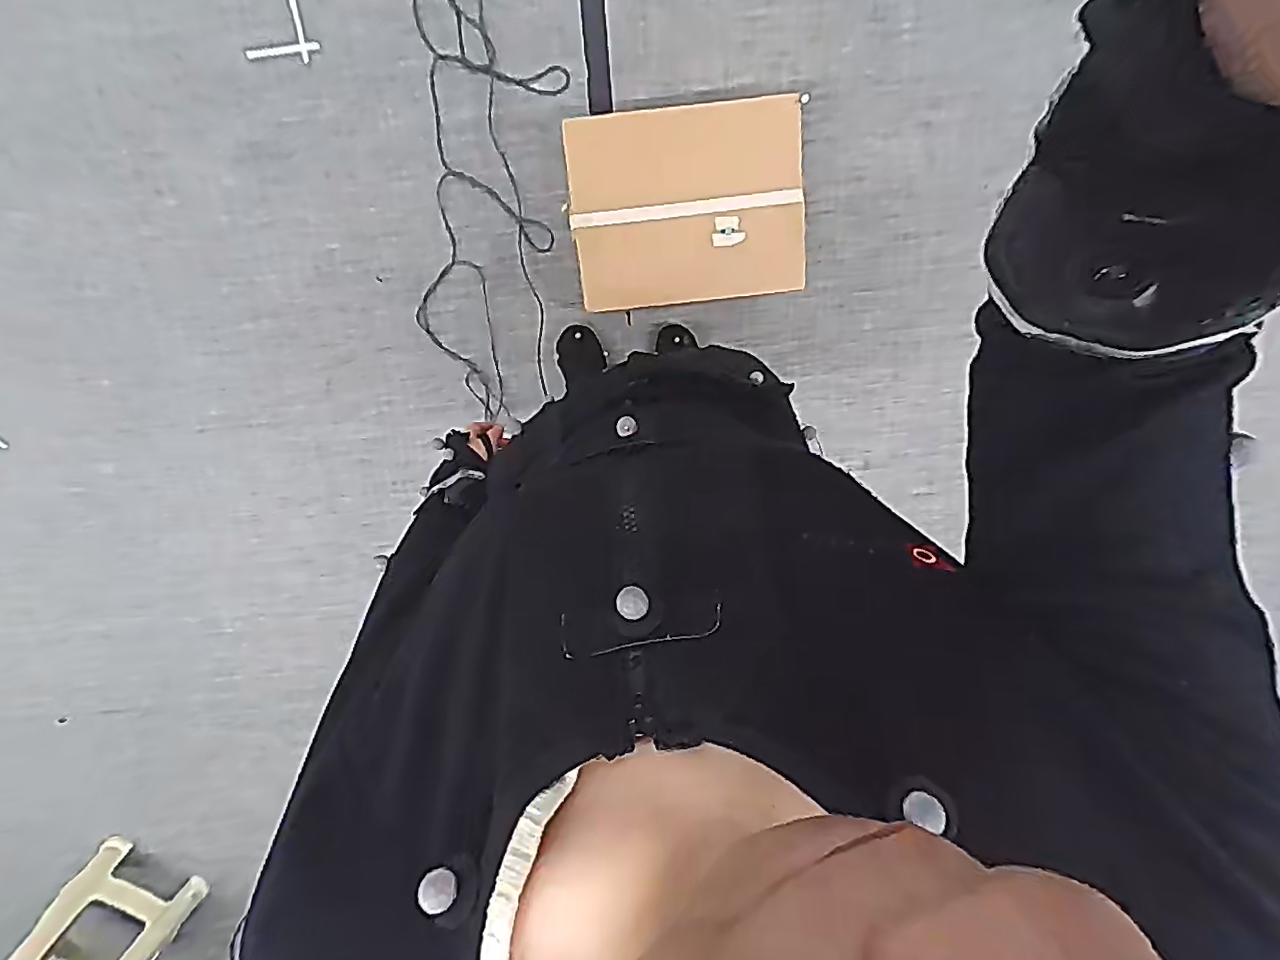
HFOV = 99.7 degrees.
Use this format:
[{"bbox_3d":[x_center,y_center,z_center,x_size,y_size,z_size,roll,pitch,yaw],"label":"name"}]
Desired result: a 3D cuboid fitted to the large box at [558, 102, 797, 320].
[{"bbox_3d":[0.069,-0.509,1.095,0.408,0.320,0.320,-6,107,0],"label":"large box"}]
